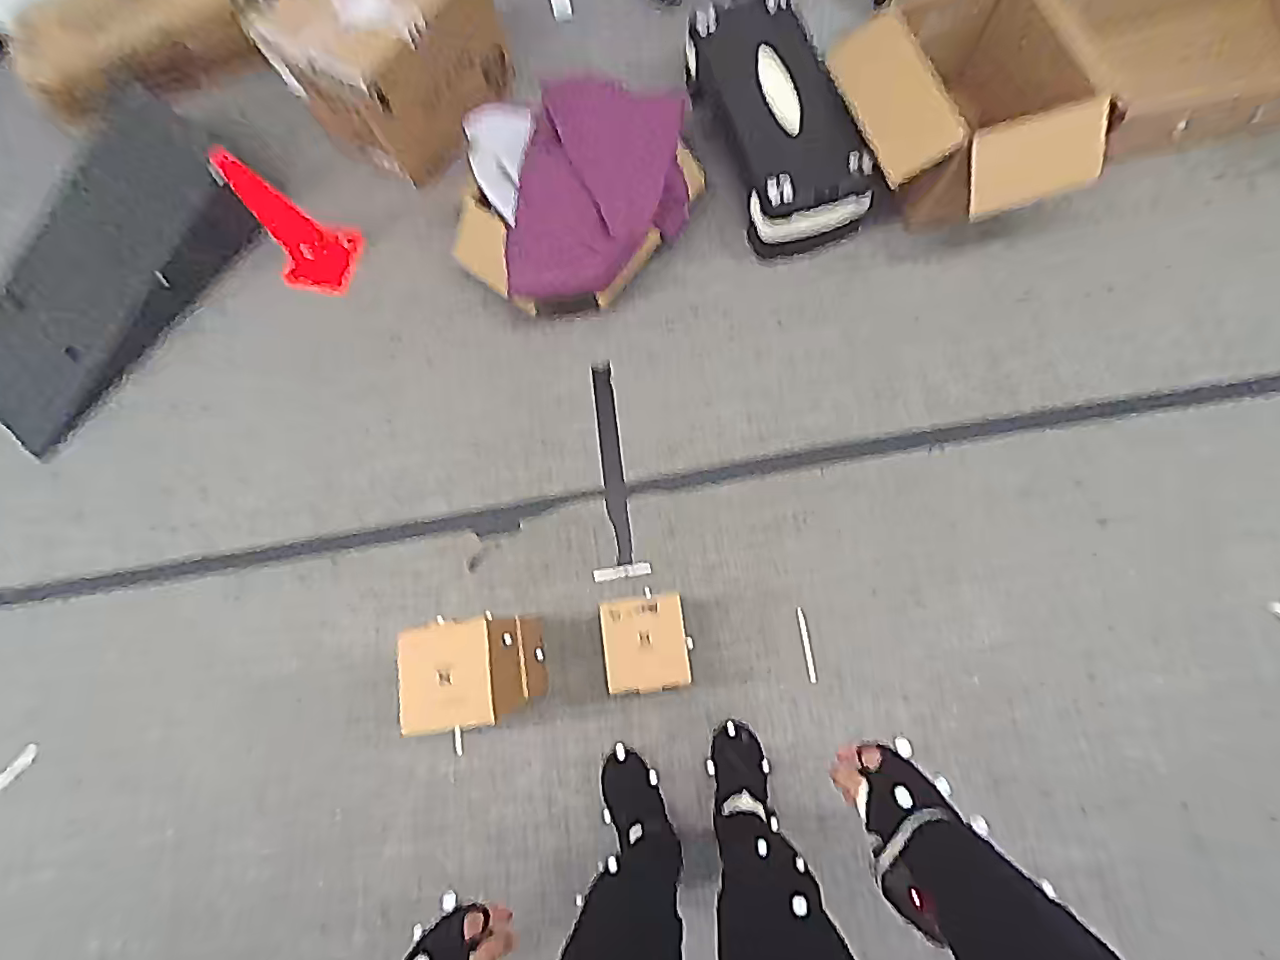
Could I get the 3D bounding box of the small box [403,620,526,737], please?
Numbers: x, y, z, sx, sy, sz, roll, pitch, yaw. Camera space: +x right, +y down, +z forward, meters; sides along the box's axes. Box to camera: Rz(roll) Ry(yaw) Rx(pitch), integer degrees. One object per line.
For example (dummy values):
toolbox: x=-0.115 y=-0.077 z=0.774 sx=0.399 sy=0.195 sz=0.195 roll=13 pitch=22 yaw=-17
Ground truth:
small box: x=-0.324 y=0.363 z=1.017 sx=0.168 sy=0.176 sz=0.179 roll=-10 pitch=76 yaw=4

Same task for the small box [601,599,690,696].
small box: x=0.016 y=0.352 z=1.159 sx=0.168 sy=0.176 sz=0.179 roll=-8 pitch=76 yaw=3

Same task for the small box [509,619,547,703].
small box: x=-0.307 y=0.397 z=1.174 sx=0.179 sy=0.176 sz=0.168 roll=-11 pitch=75 yaw=3
